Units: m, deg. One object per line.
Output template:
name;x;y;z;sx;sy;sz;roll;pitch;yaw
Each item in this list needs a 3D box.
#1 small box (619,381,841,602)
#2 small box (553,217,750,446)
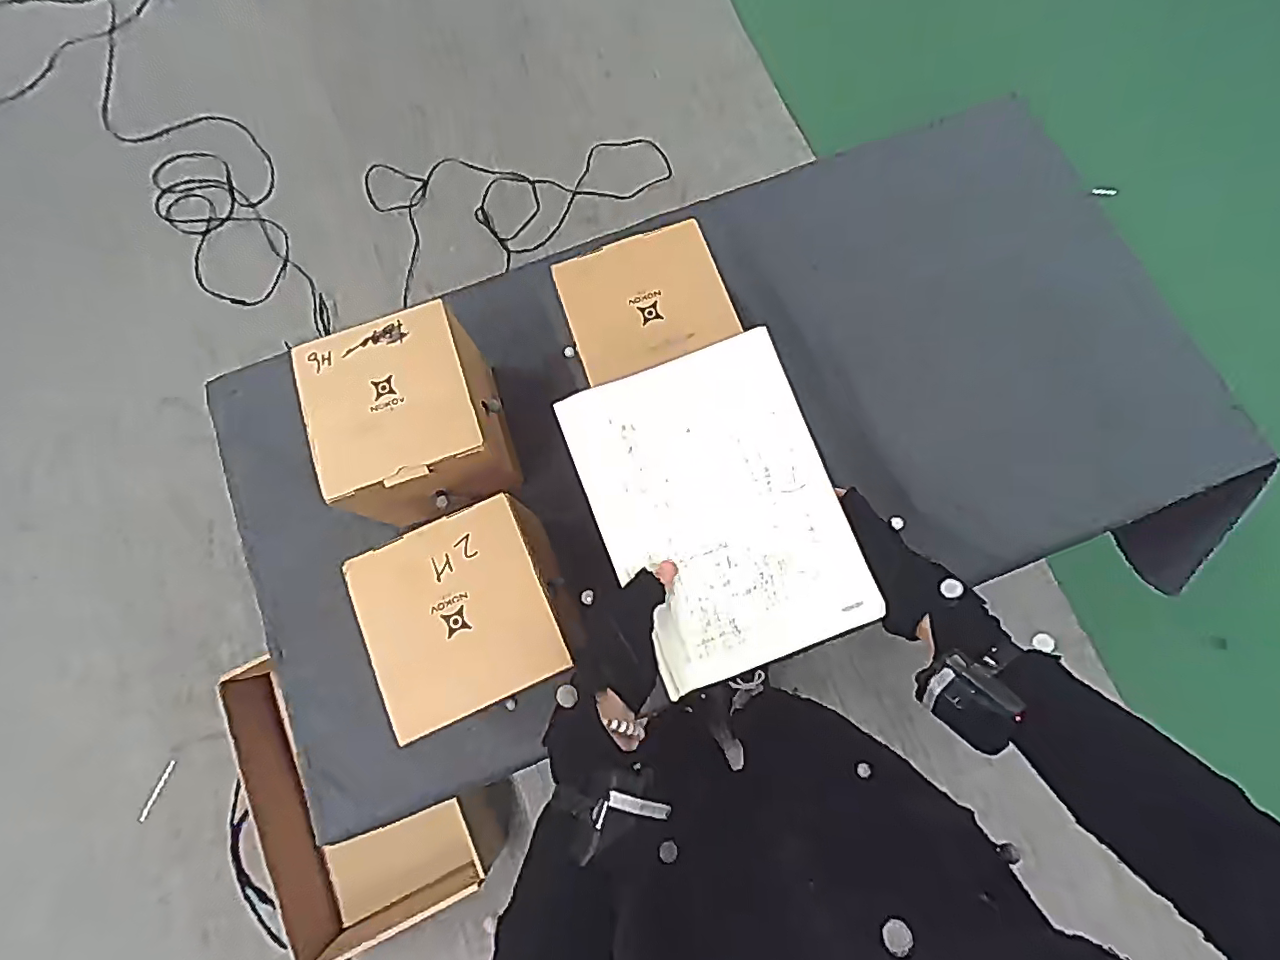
small box;0.083;0.024;0.583;0.168;0.176;0.179;-18;77;-2
small box;0.011;-0.160;0.633;0.168;0.176;0.179;-19;77;-1
